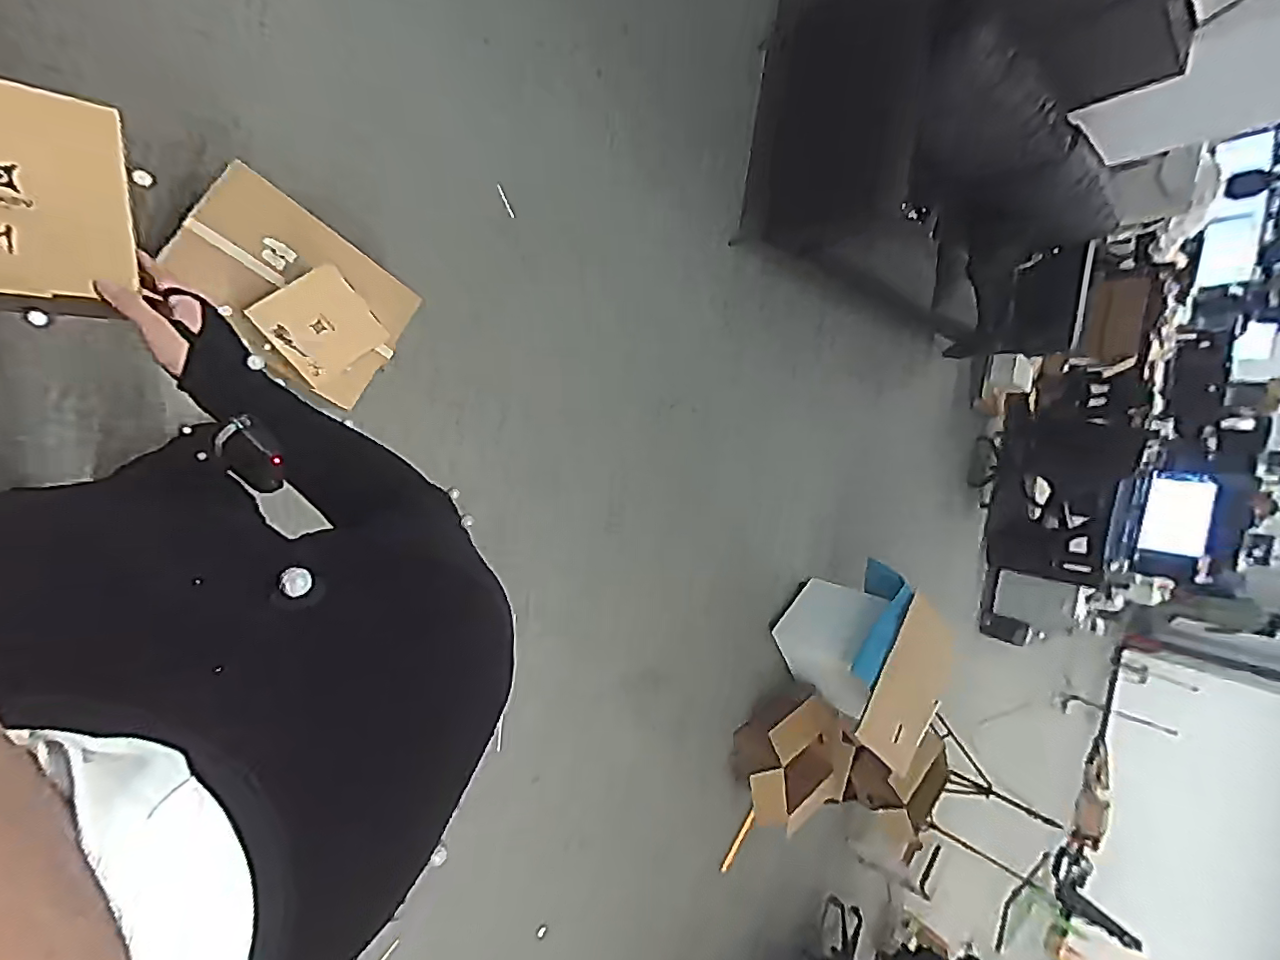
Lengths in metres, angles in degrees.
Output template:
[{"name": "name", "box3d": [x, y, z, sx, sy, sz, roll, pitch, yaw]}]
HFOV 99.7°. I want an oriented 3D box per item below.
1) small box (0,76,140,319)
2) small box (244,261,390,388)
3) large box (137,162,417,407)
[{"name": "small box", "box3d": [-0.593, -0.257, 0.509, 0.168, 0.176, 0.179, -8, 102, -41]}, {"name": "small box", "box3d": [-0.631, -0.298, 1.052, 0.179, 0.176, 0.168, -46, 123, -23]}, {"name": "large box", "box3d": [-0.799, -0.398, 1.218, 0.408, 0.320, 0.320, 36, 74, -37]}]
